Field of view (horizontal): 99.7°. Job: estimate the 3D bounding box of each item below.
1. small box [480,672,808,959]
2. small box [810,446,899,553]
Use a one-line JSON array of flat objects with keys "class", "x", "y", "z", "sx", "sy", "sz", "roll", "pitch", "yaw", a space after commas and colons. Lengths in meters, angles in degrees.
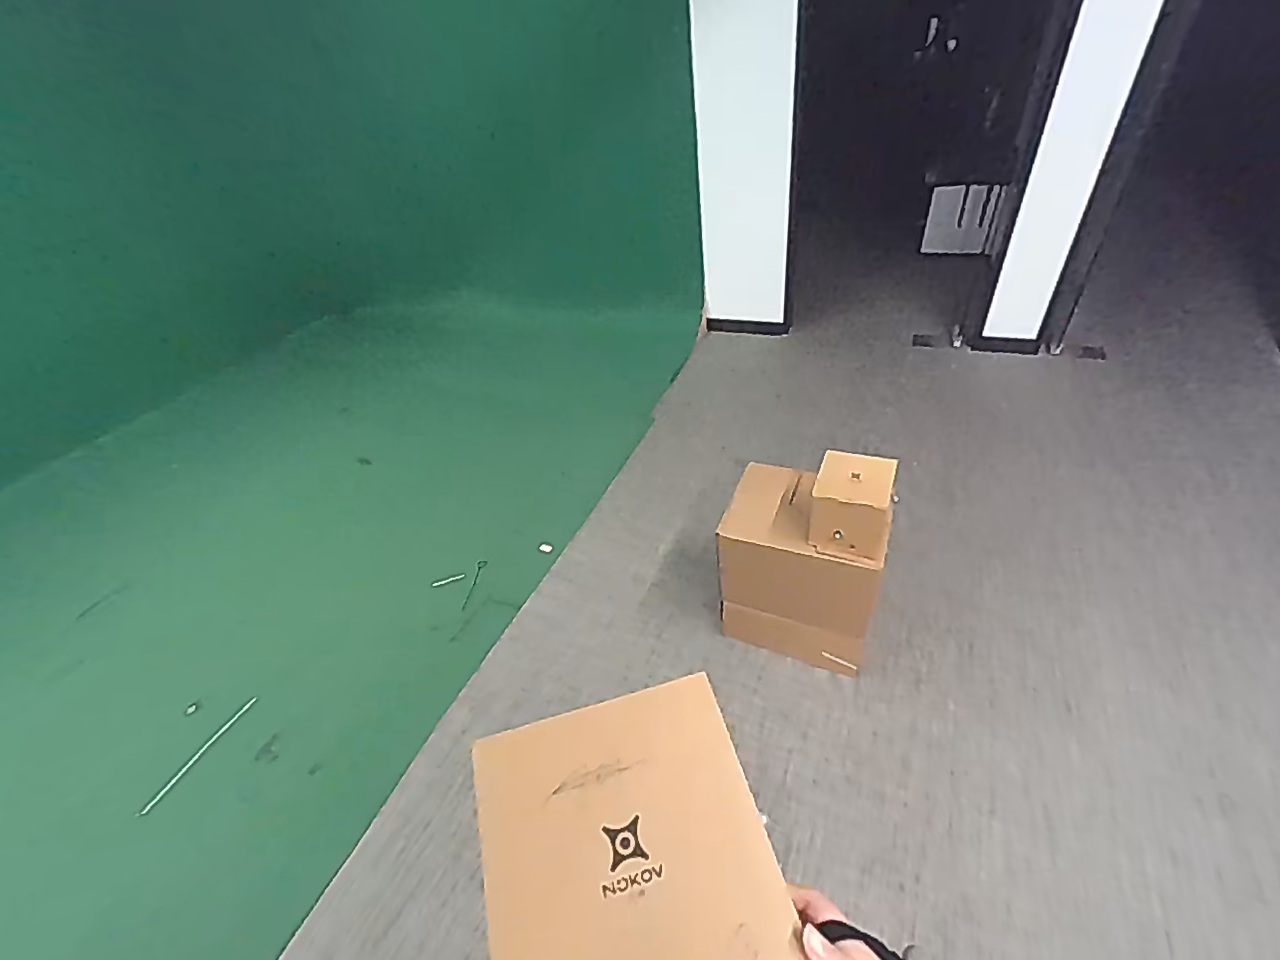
[{"class": "small box", "x": -0.007, "y": 0.266, "z": 0.382, "sx": 0.168, "sy": 0.176, "sz": 0.179, "roll": -11, "pitch": 51, "yaw": -10}, {"class": "small box", "x": 0.517, "y": 0.047, "z": 1.315, "sx": 0.168, "sy": 0.176, "sz": 0.179, "roll": 13, "pitch": 46, "yaw": 24}]
